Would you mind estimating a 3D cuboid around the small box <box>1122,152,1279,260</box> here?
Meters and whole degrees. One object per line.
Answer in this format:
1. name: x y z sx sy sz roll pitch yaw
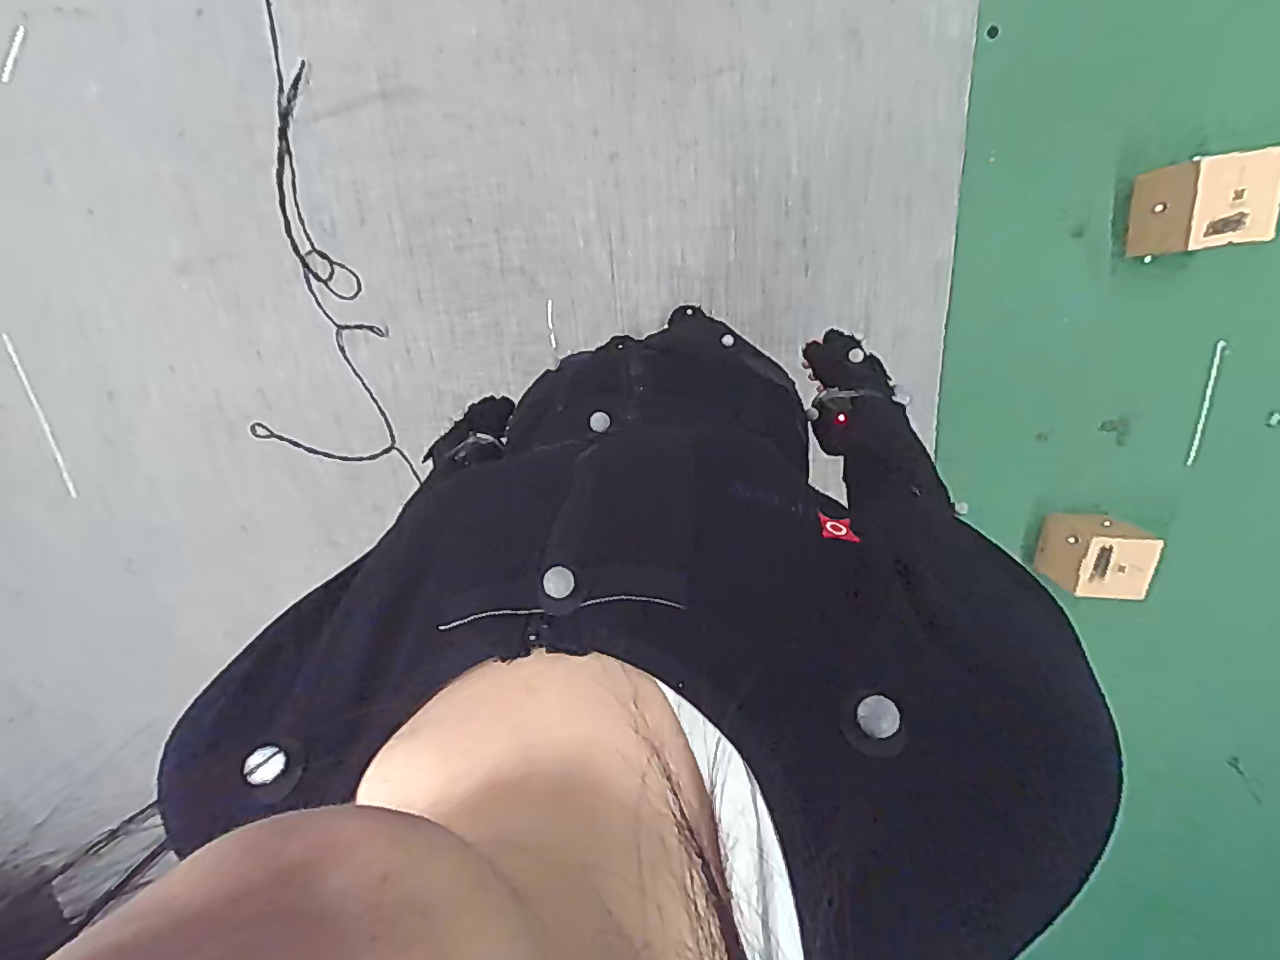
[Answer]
1. small box: 1.201 -0.581 1.171 0.168 0.176 0.179 -5 106 5
